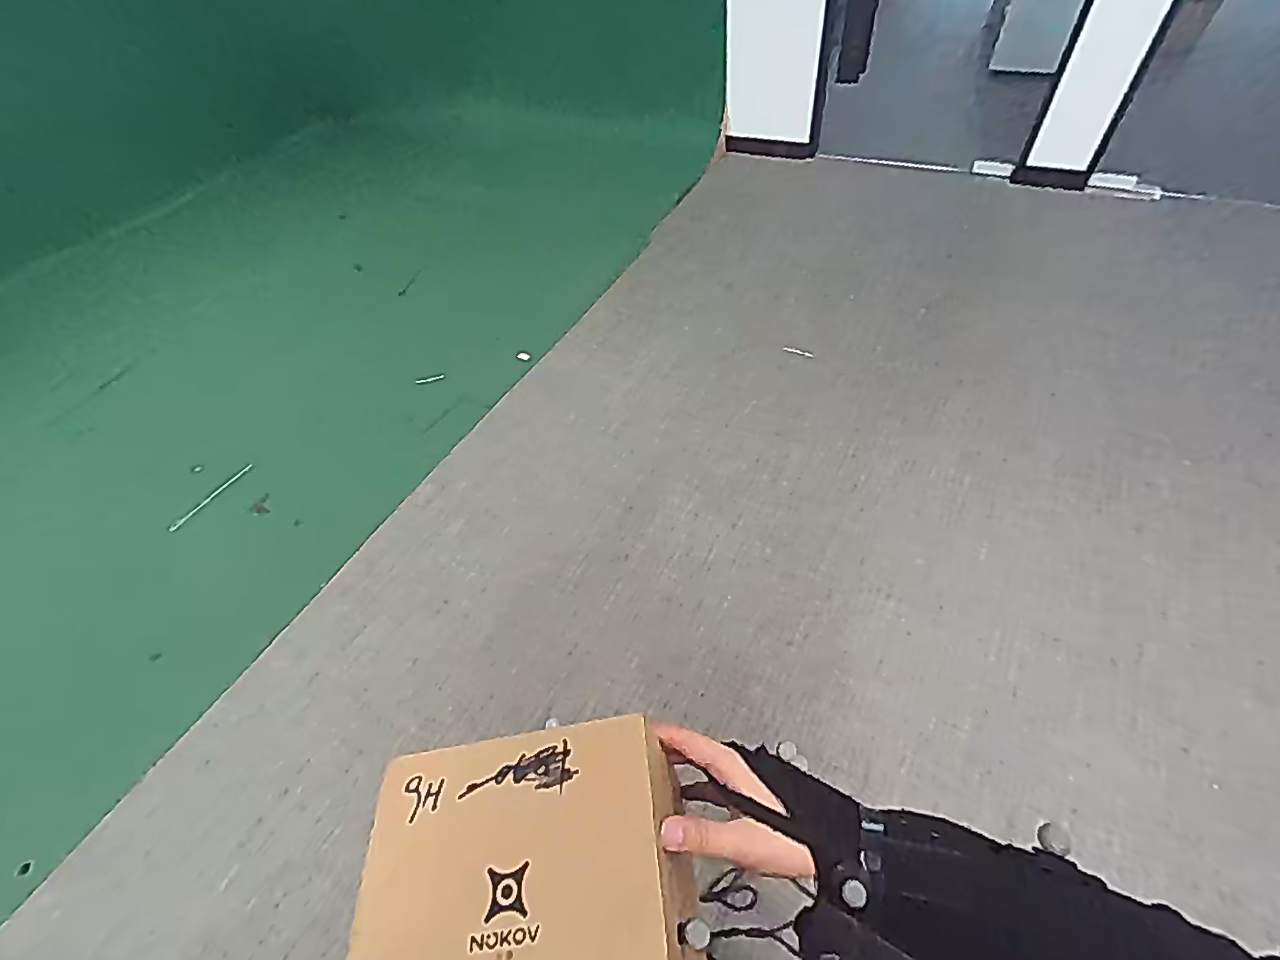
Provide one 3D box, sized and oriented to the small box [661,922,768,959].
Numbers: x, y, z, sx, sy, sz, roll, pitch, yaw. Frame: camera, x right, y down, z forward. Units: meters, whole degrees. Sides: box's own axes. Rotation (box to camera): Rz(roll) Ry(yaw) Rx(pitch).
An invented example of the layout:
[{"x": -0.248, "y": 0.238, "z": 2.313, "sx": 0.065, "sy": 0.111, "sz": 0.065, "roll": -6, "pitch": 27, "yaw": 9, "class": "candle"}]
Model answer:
[{"x": 0.146, "y": 0.895, "z": 0.942, "sx": 0.179, "sy": 0.176, "sz": 0.168, "roll": -18, "pitch": 47, "yaw": 2, "class": "small box"}]
